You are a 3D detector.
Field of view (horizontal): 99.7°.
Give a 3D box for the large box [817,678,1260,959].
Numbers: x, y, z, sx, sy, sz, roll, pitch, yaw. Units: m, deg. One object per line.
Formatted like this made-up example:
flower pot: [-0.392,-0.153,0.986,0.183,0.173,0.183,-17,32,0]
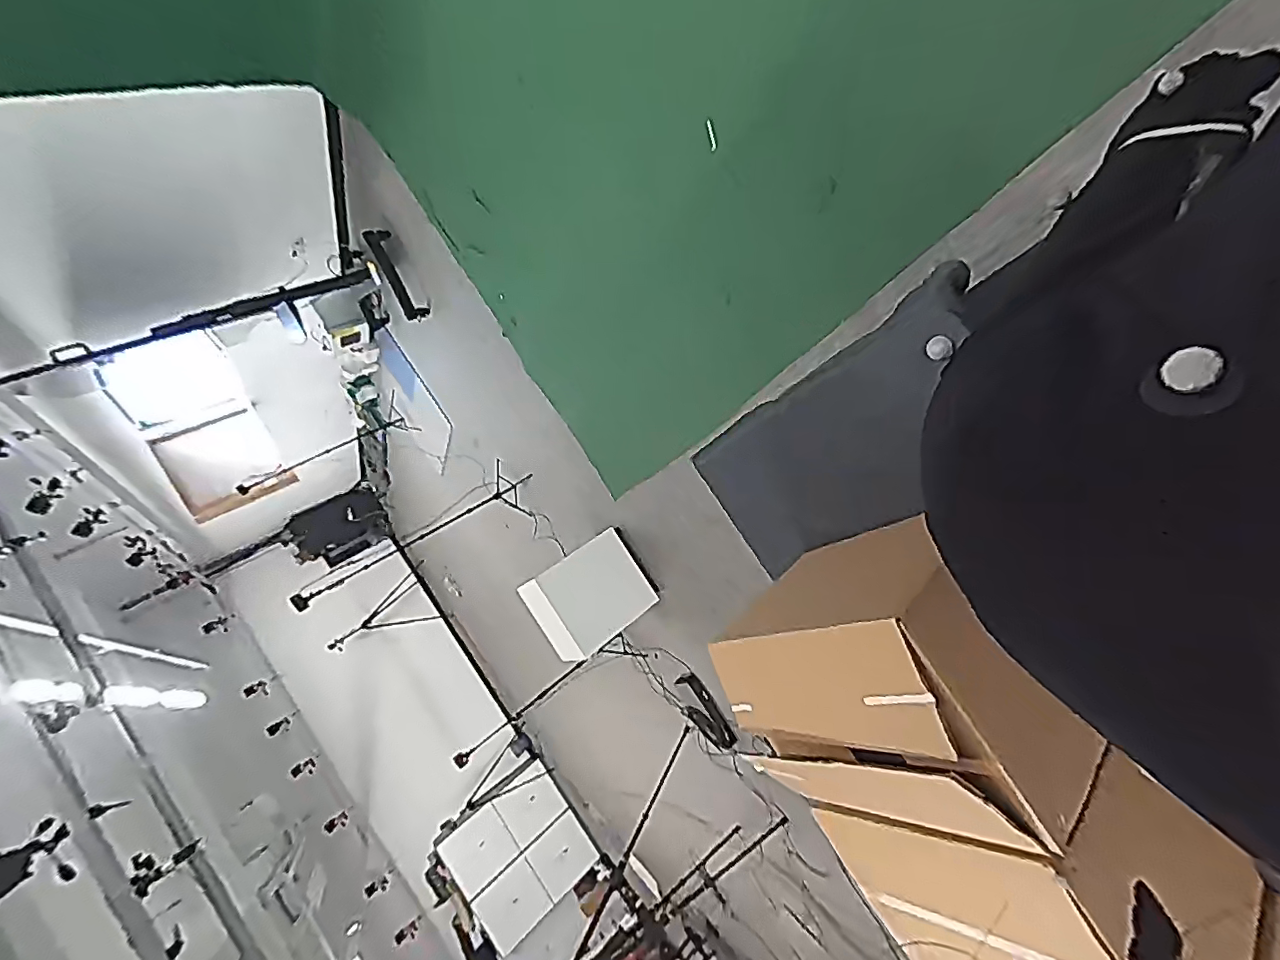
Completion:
large box: [0.567,0.534,0.824,0.320,0.320,0.408,55,147,4]
